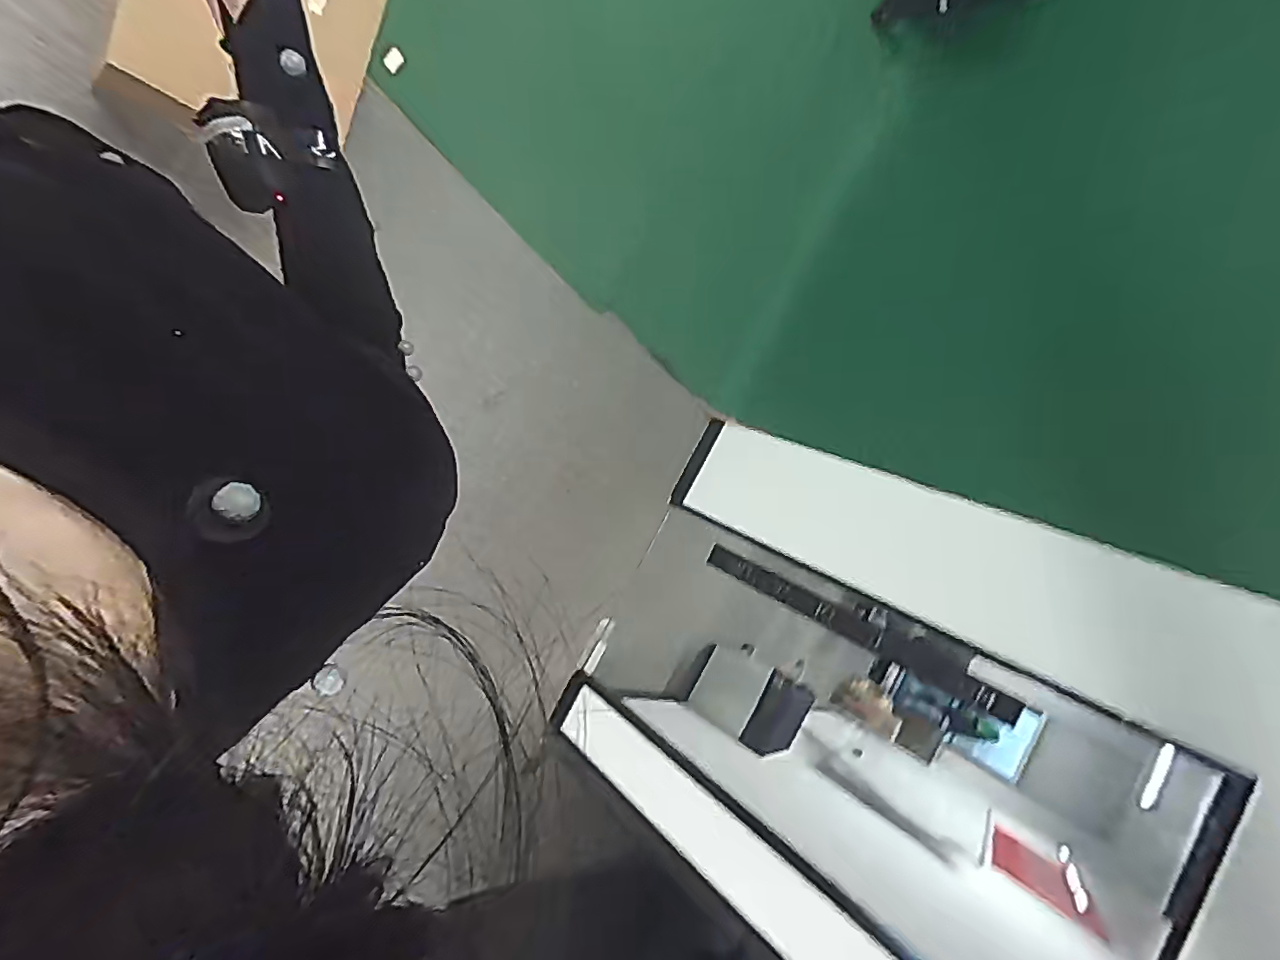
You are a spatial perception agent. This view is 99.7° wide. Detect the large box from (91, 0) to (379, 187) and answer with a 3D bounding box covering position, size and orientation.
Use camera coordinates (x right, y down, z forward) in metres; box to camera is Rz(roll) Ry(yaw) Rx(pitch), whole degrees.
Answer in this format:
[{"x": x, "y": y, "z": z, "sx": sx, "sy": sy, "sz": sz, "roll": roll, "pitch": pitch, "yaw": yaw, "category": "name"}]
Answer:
[{"x": -0.716, "y": -0.802, "z": 0.962, "sx": 0.320, "sy": 0.320, "sz": 0.408, "roll": 13, "pitch": 98, "yaw": -52, "category": "large box"}]
